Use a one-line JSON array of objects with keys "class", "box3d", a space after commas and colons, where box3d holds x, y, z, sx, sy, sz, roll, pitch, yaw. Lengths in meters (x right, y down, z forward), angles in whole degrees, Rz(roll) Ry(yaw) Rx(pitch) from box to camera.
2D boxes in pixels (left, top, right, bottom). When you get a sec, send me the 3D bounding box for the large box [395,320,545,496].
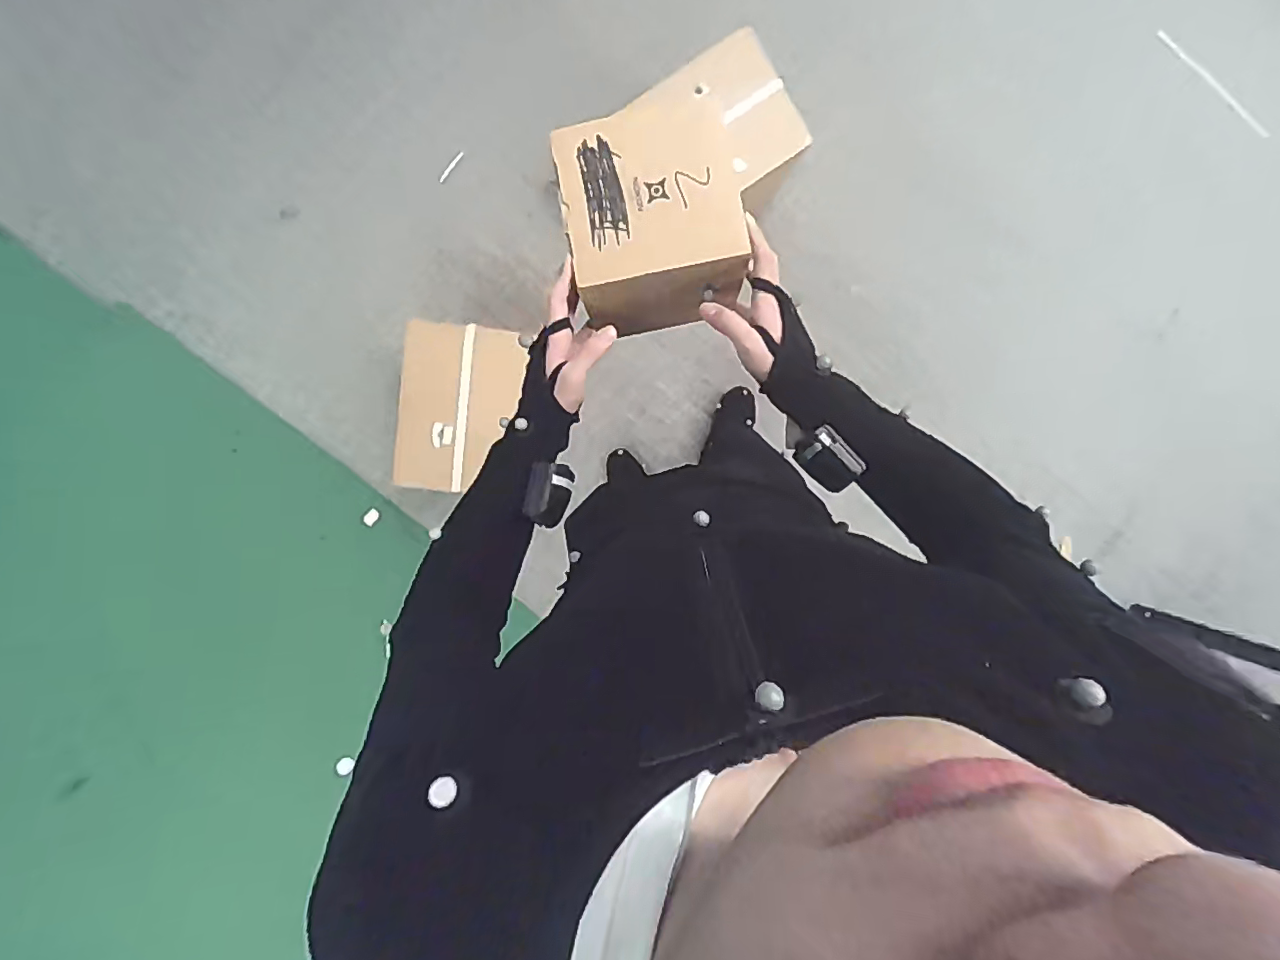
[{"class": "large box", "box3d": [-0.434, -0.185, 1.444, 0.320, 0.320, 0.408, 6, 95, -3]}]
